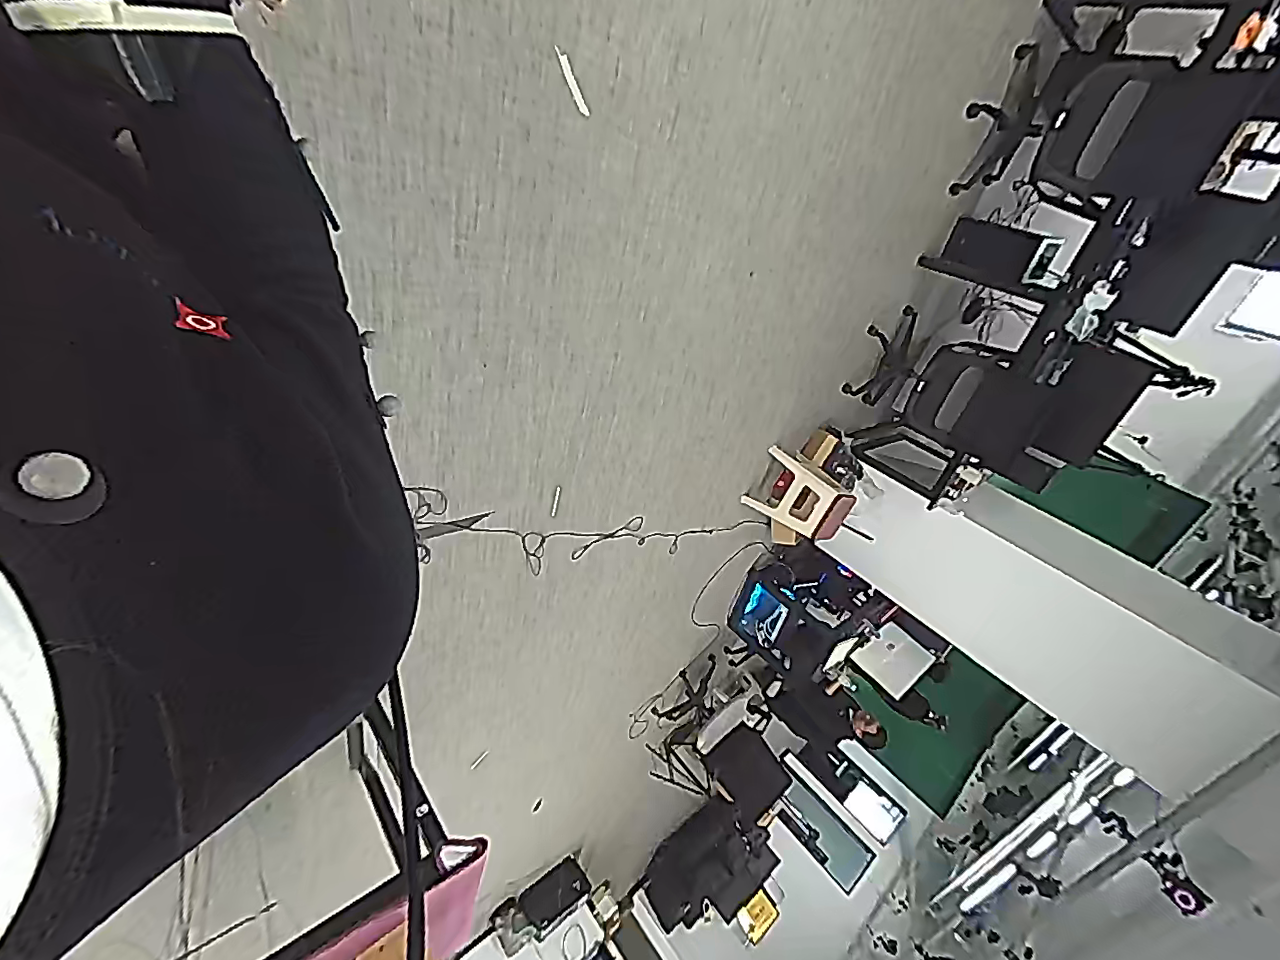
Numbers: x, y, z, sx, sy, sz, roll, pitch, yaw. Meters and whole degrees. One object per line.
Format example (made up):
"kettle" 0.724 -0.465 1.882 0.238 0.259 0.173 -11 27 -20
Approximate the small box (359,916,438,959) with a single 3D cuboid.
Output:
"small box" -0.648 1.345 1.472 0.168 0.176 0.179 -21 135 -36
